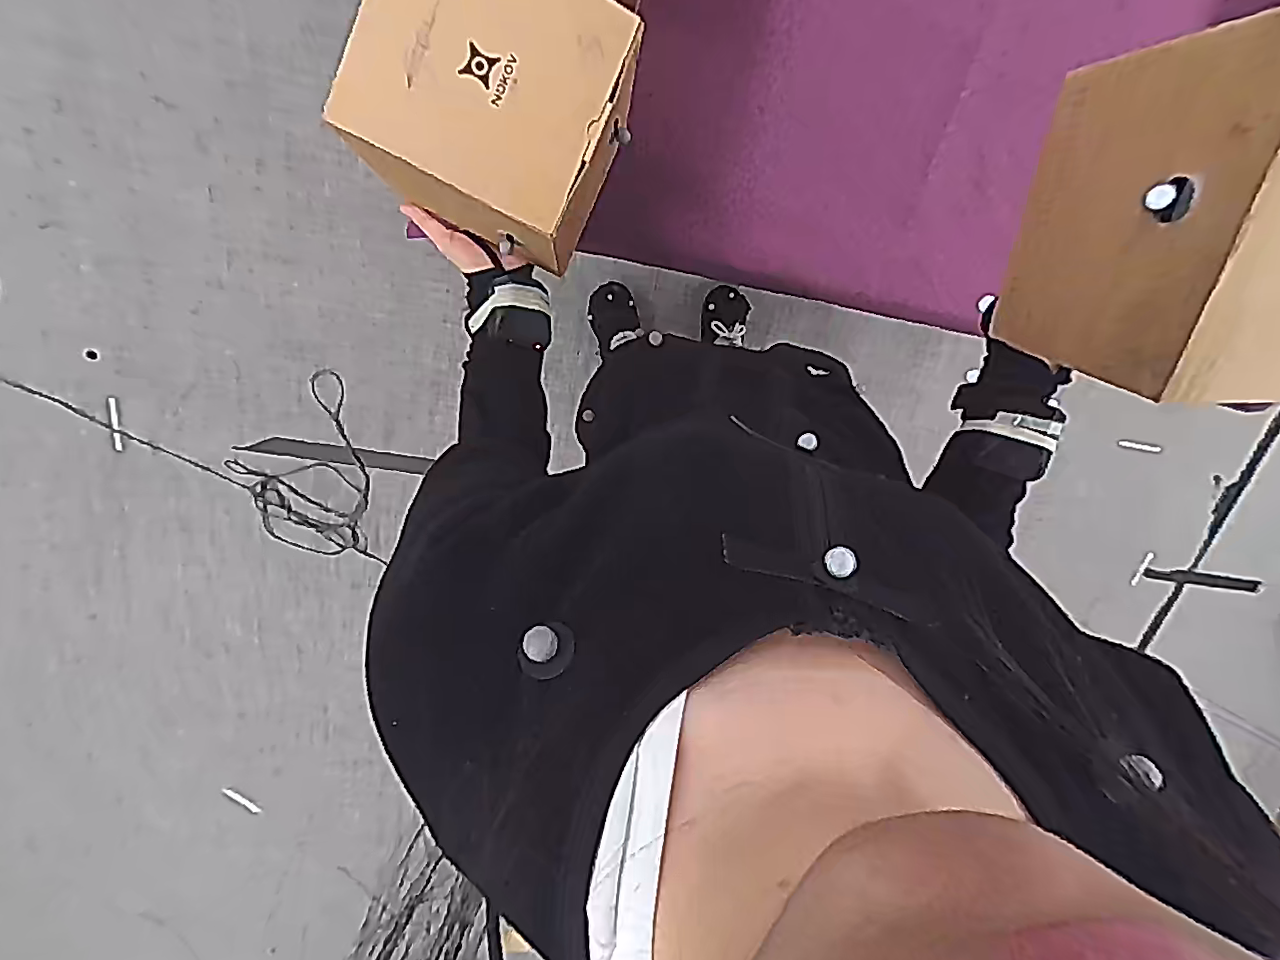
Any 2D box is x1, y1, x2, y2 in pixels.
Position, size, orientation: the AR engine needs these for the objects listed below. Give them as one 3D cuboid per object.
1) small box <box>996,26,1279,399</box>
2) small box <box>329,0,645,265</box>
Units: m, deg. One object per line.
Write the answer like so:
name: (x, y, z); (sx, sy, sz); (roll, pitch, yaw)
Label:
small box: (0.363, -0.158, 0.332); (0.168, 0.176, 0.179); (0, 118, 0)
small box: (-0.115, -0.304, 0.459); (0.179, 0.176, 0.168); (23, 96, -10)
